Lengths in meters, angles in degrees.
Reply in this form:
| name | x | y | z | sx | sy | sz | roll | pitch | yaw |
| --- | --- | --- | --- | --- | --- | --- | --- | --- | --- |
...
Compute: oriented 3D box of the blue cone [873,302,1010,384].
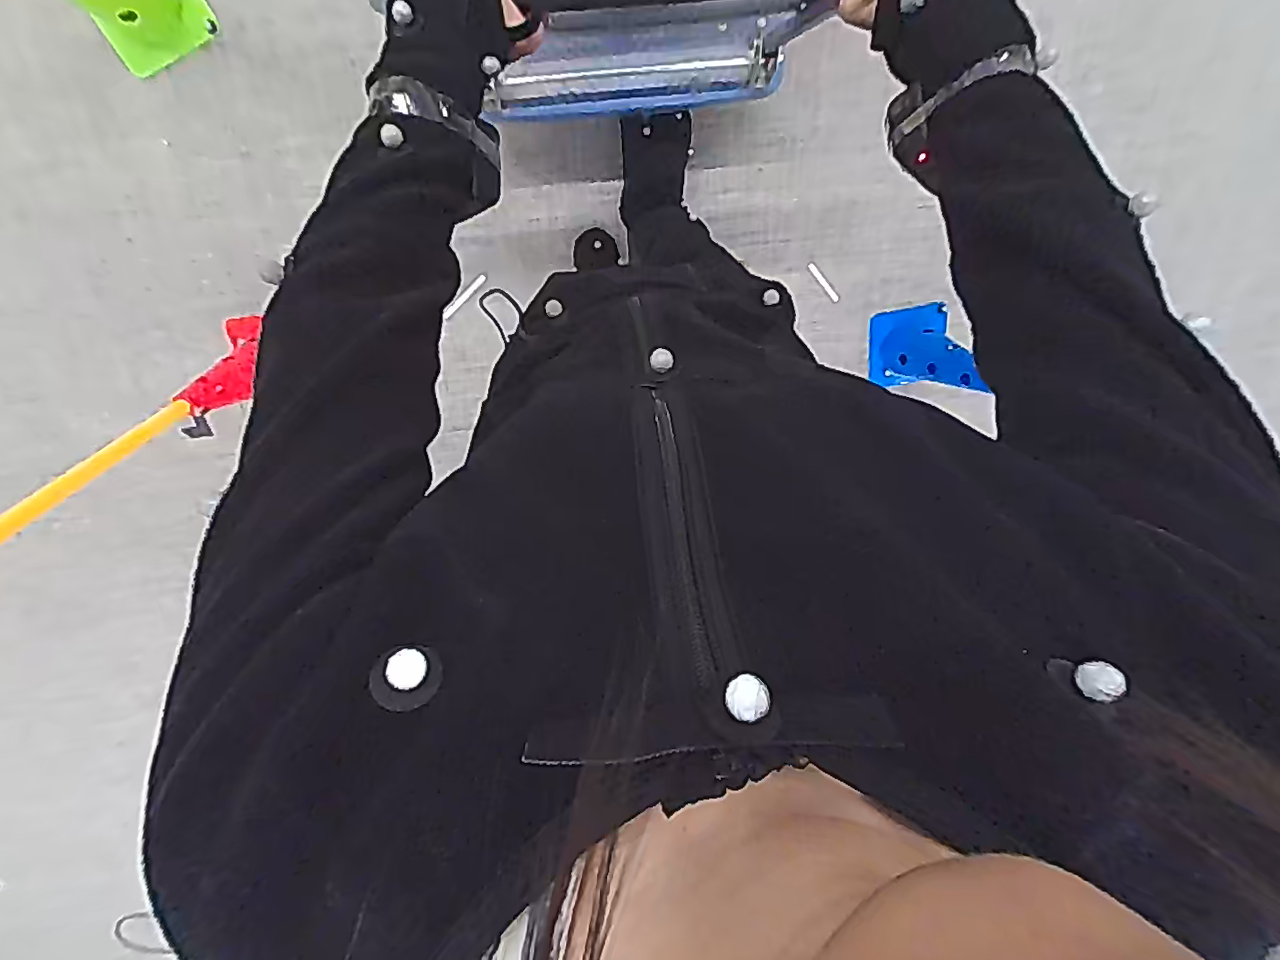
| name | x | y | z | sx | sy | sz | roll | pitch | yaw |
| --- | --- | --- | --- | --- | --- | --- | --- | --- | --- |
| blue cone | 0.709 | -0.281 | 1.252 | 0.193 | 0.380 | 0.192 | -9 | 116 | -1 |
